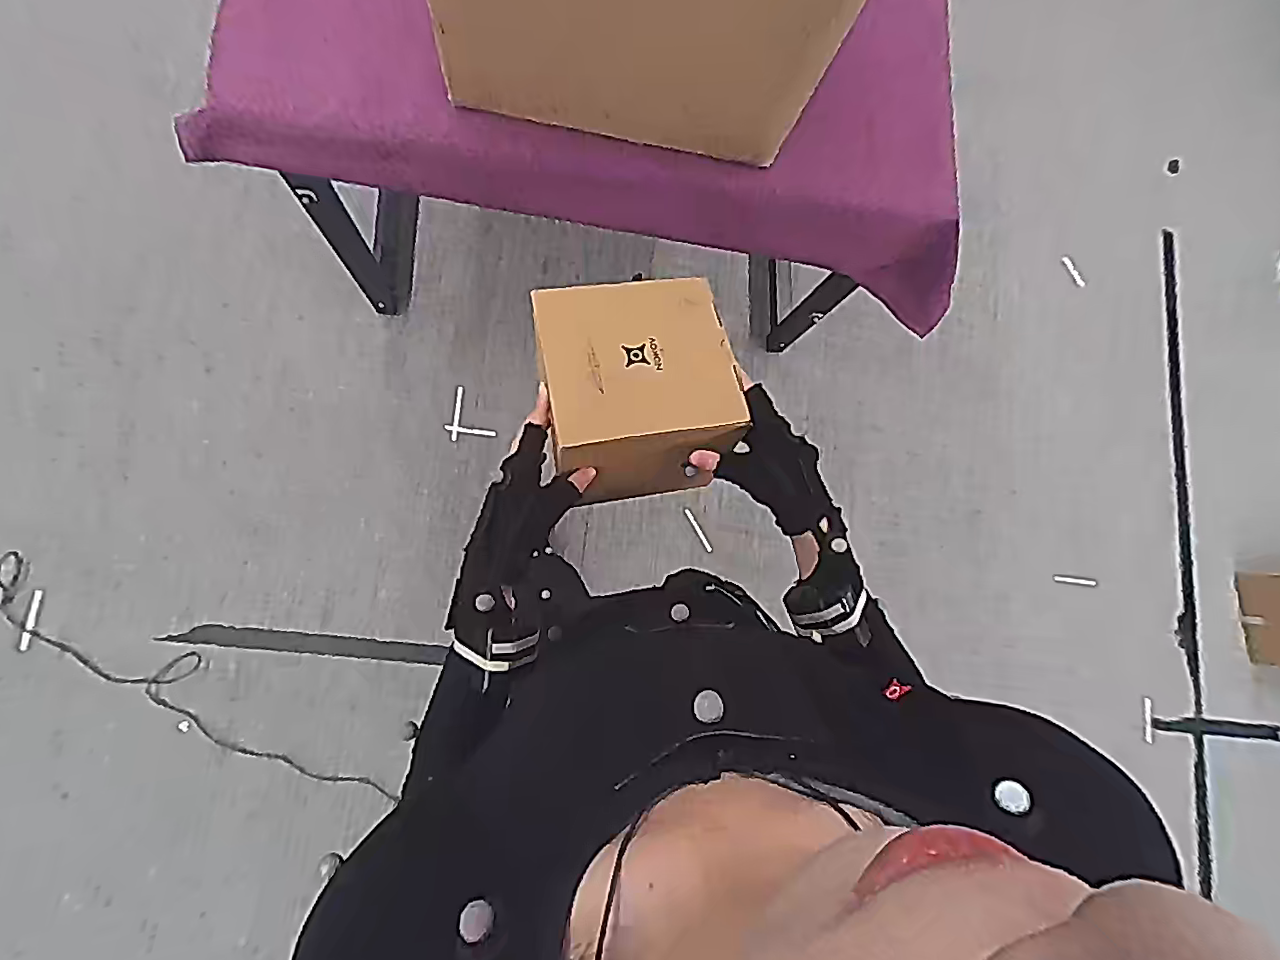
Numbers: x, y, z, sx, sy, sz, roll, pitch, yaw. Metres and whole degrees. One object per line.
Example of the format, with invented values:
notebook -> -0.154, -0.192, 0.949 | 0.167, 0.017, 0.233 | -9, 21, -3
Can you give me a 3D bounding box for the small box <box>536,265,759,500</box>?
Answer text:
small box -> -0.006, -0.091, 0.551 | 0.179, 0.176, 0.168 | -9, 70, -11
